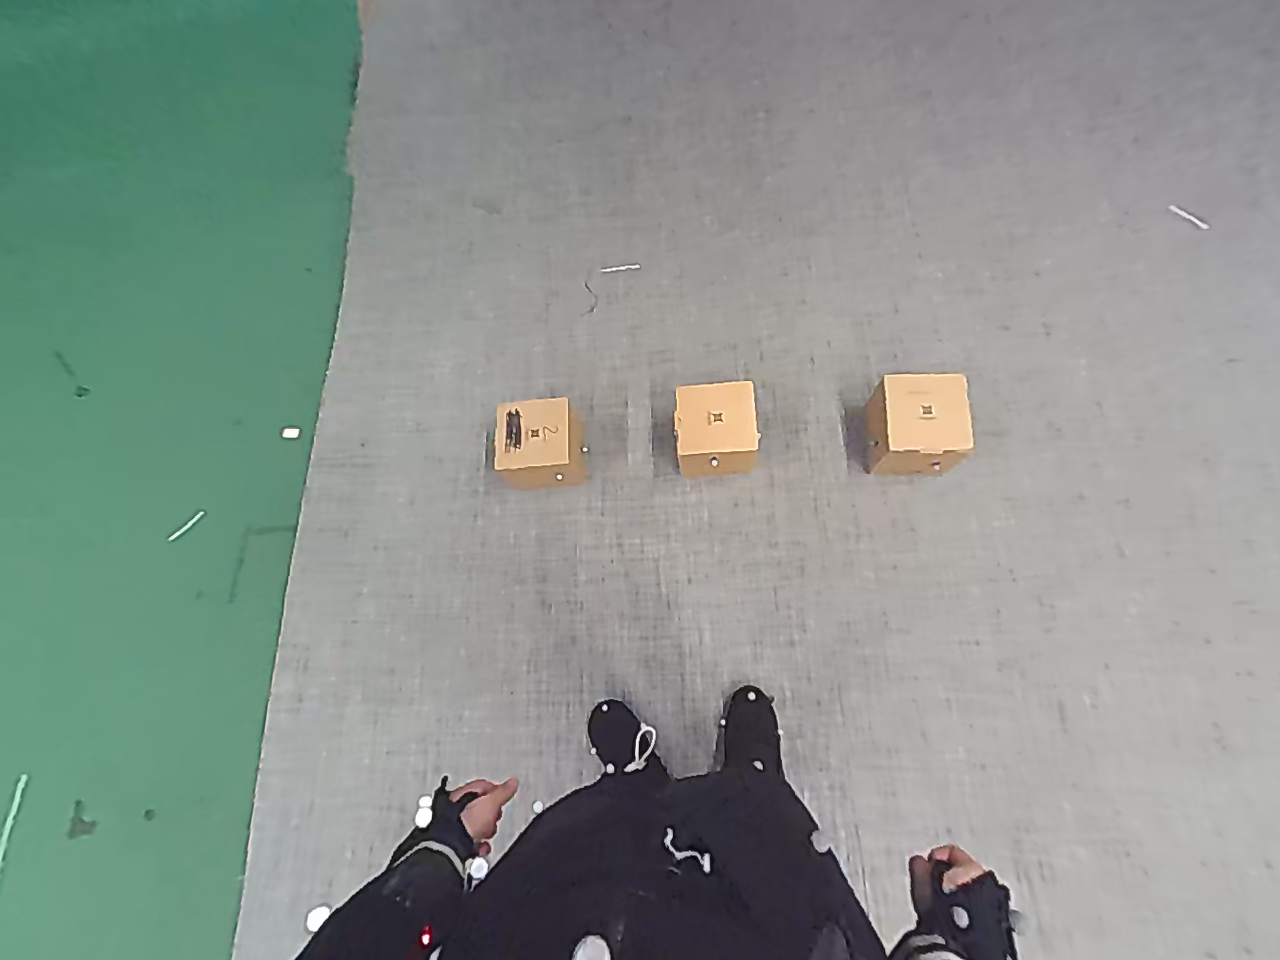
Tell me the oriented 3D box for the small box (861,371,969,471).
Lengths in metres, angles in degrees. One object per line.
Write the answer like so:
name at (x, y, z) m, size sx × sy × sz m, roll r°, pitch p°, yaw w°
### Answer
small box at (0.598, -0.125, 1.197) m, size 0.168 × 0.176 × 0.179 m, roll 1°, pitch 73°, yaw 7°

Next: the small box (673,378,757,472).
small box at (0.171, -0.123, 1.257) m, size 0.179 × 0.176 × 0.168 m, roll -3°, pitch 74°, yaw 8°
